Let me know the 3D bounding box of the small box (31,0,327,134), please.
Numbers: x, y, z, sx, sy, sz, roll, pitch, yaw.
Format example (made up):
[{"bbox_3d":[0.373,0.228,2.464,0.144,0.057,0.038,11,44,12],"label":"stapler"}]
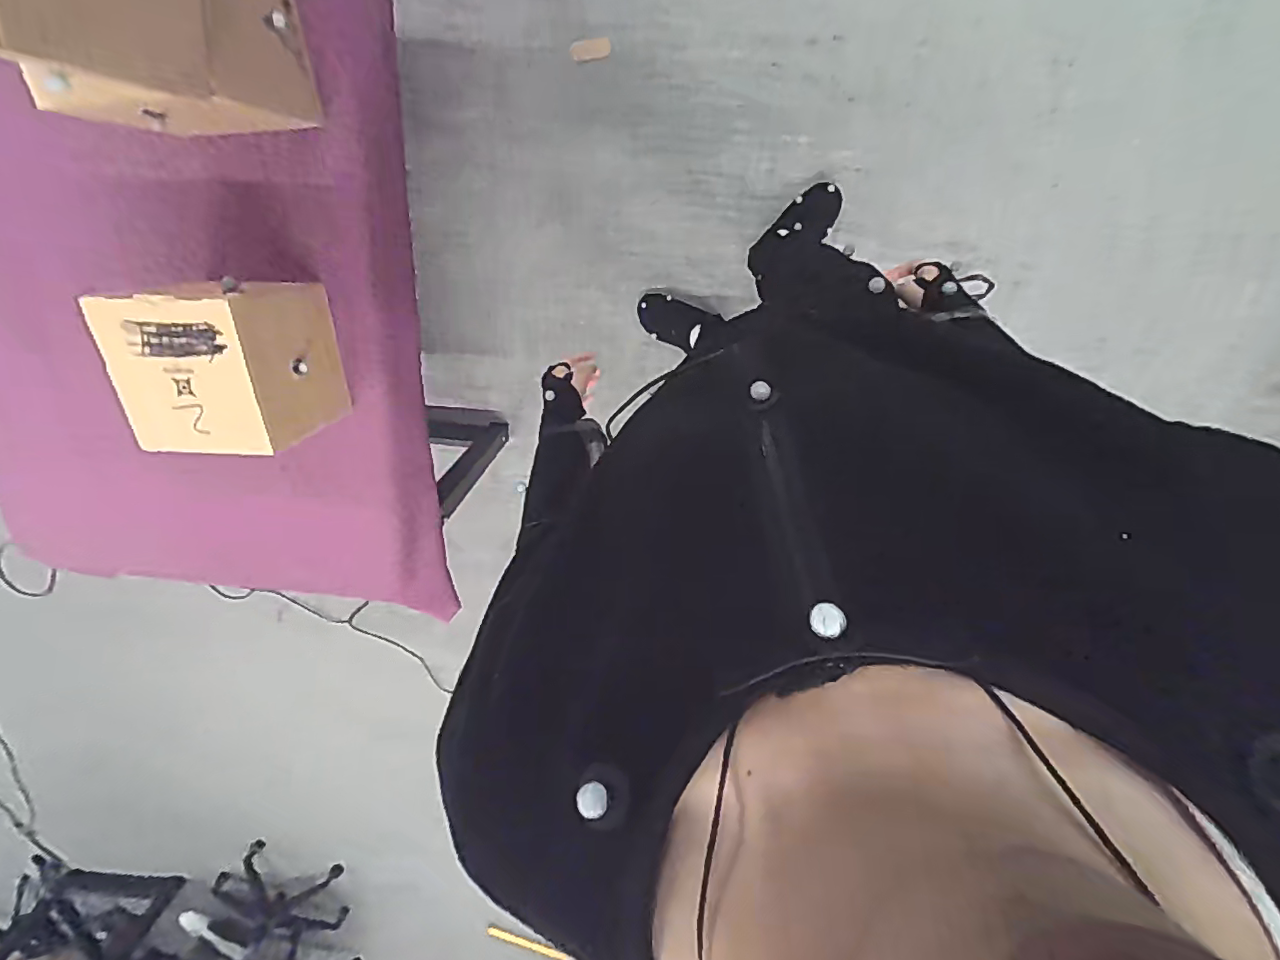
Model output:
[{"bbox_3d":[-0.452,-0.447,0.525,0.179,0.176,0.168,0,116,5],"label":"small box"}]

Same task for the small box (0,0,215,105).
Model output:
[{"bbox_3d":[-0.440,-0.390,0.369,0.168,0.176,0.179,13,116,-1],"label":"small box"}]
